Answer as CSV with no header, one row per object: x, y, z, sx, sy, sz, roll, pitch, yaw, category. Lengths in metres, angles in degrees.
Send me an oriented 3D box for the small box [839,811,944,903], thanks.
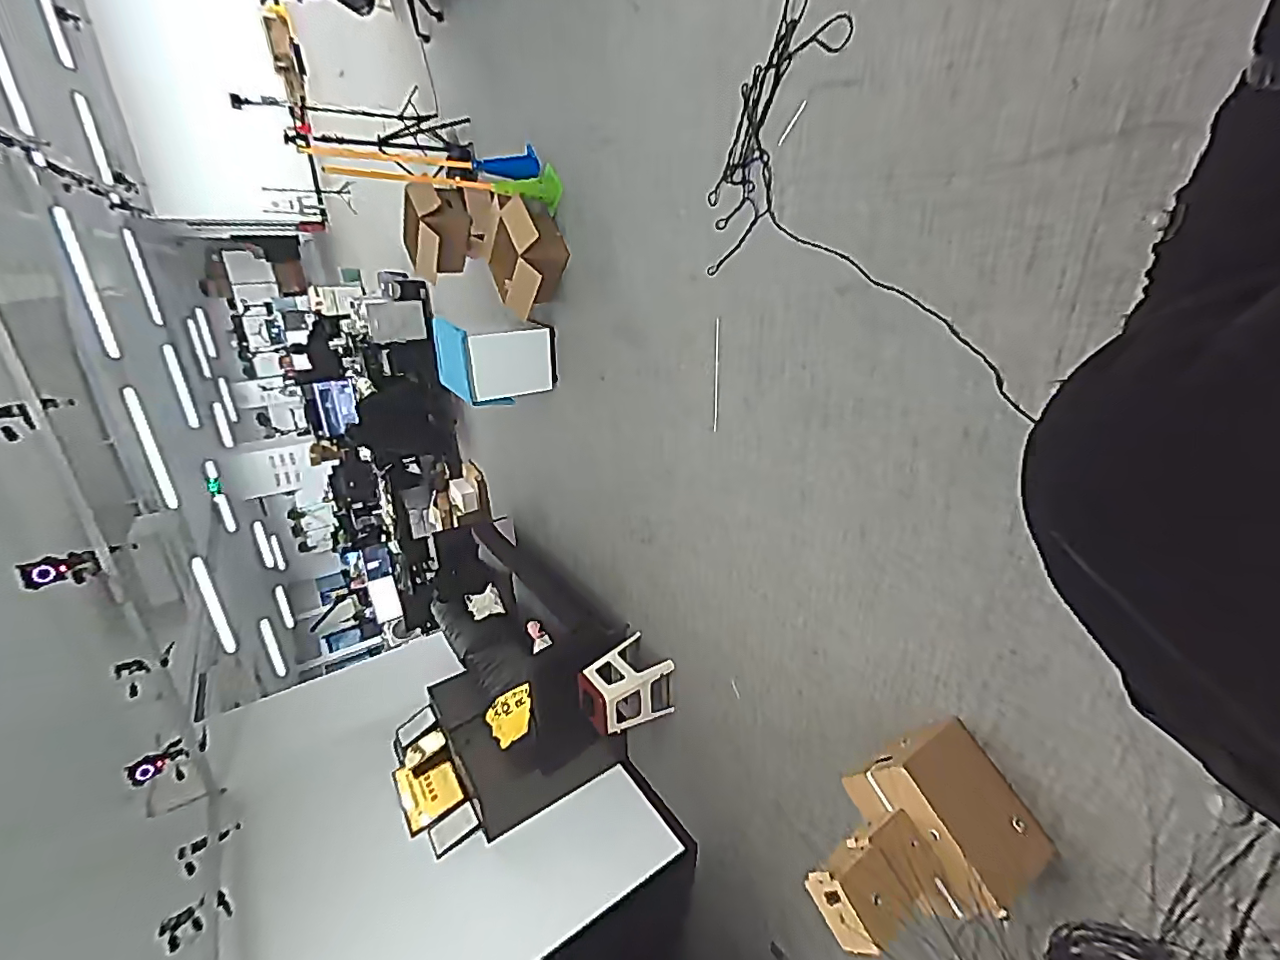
0.727,1.093,1.568,0.179,0.176,0.168,56,146,28,small box

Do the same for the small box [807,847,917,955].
0.600,1.130,1.467,0.179,0.176,0.168,57,145,23,small box
